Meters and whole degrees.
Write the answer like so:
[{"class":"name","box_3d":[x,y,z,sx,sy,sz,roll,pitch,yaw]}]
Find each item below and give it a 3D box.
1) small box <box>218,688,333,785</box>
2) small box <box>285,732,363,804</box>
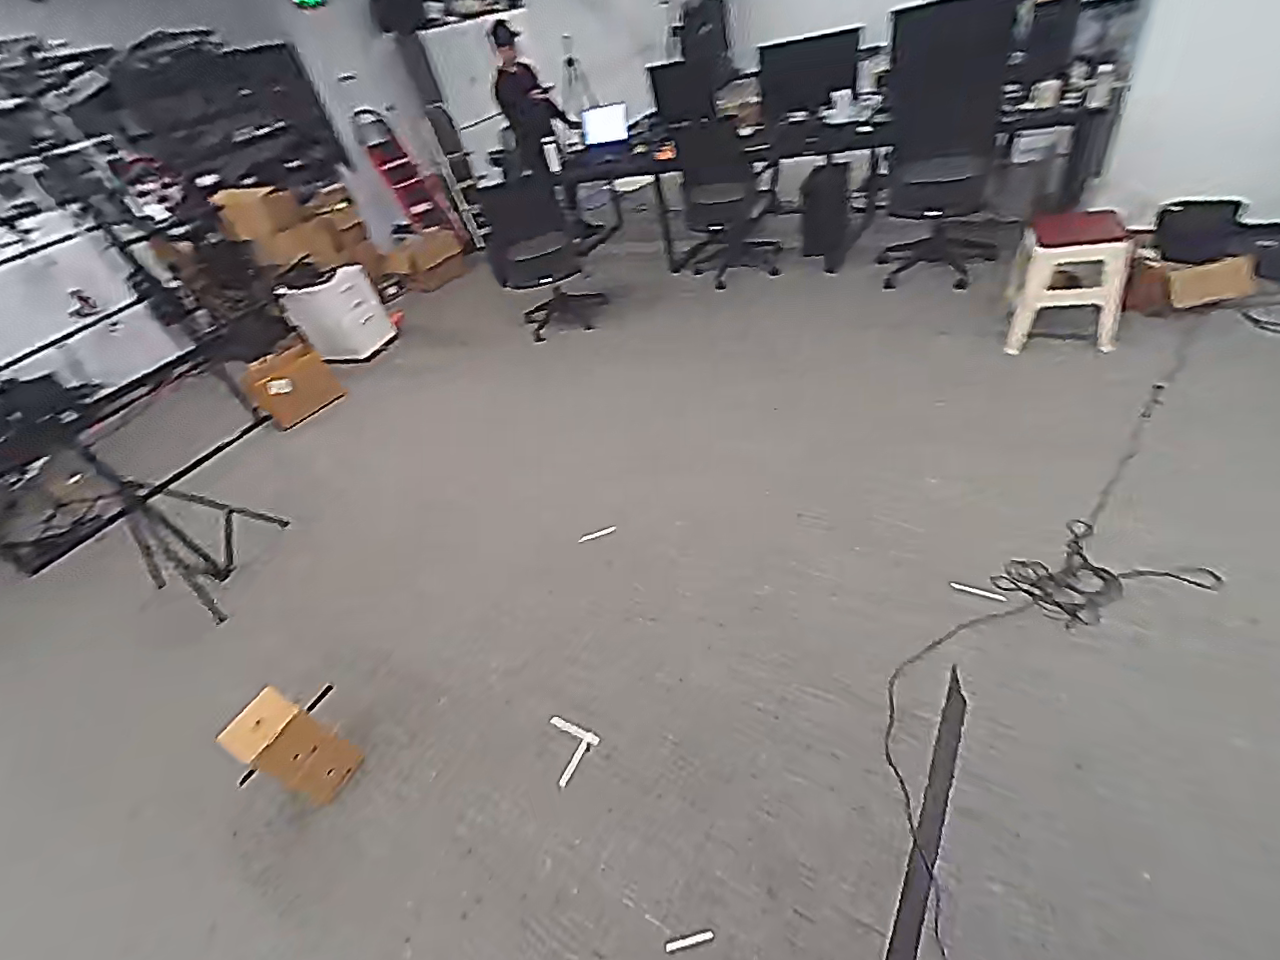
[{"class":"small box","box_3d":[-1.025,0.729,1.532,0.179,0.176,0.168,11,48,29]},{"class":"small box","box_3d":[-0.986,0.848,1.636,0.179,0.176,0.168,9,46,29]}]
